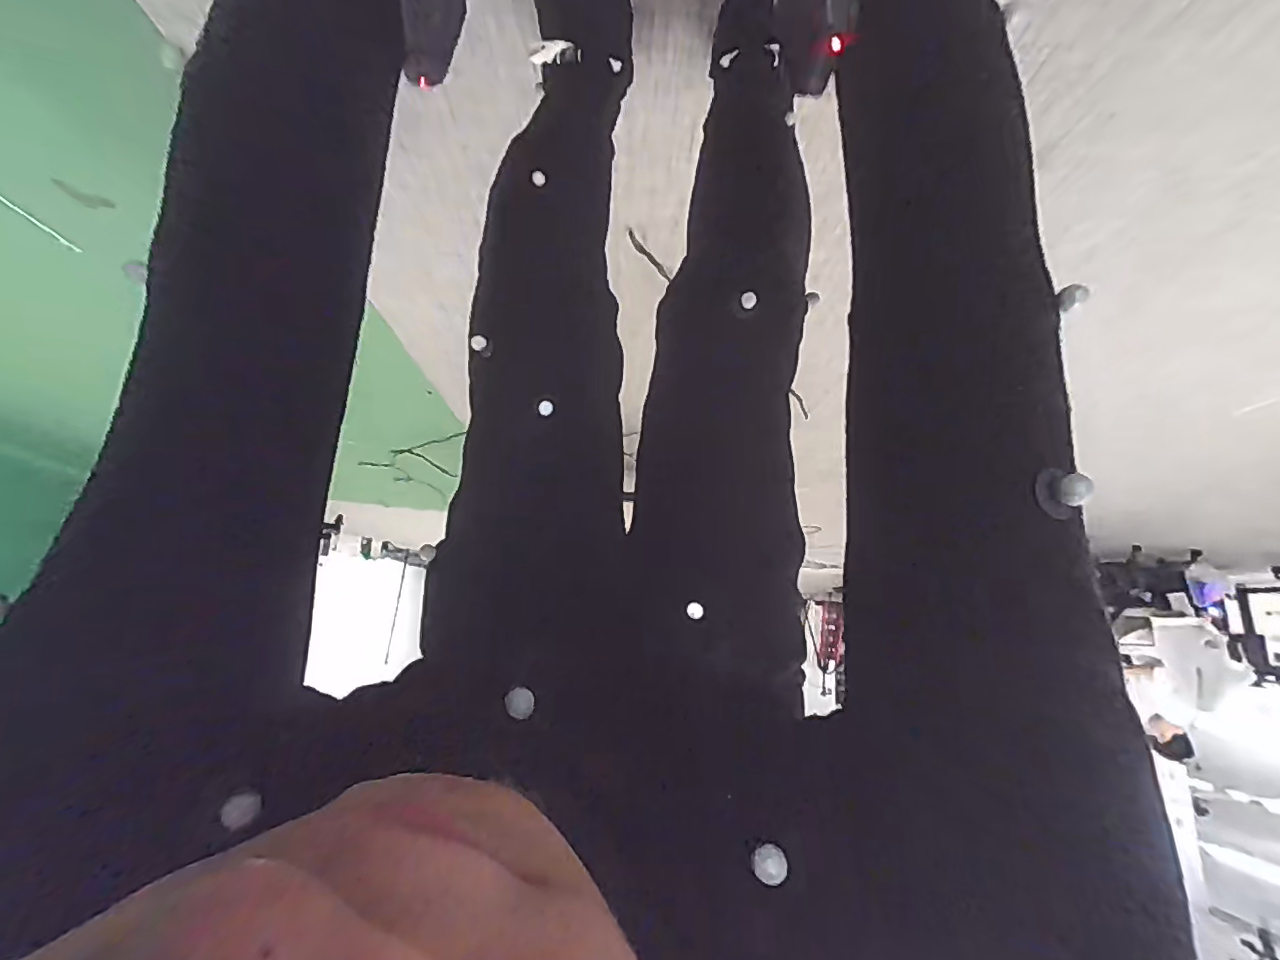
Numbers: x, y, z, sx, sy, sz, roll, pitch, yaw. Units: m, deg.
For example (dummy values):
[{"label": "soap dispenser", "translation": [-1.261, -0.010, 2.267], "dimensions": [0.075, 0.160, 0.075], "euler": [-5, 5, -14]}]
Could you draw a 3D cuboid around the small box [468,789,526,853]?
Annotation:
[{"label": "small box", "translation": [-0.563, 1.344, 2.145], "dimensions": [0.179, 0.176, 0.168], "euler": [5, 167, 1]}]
